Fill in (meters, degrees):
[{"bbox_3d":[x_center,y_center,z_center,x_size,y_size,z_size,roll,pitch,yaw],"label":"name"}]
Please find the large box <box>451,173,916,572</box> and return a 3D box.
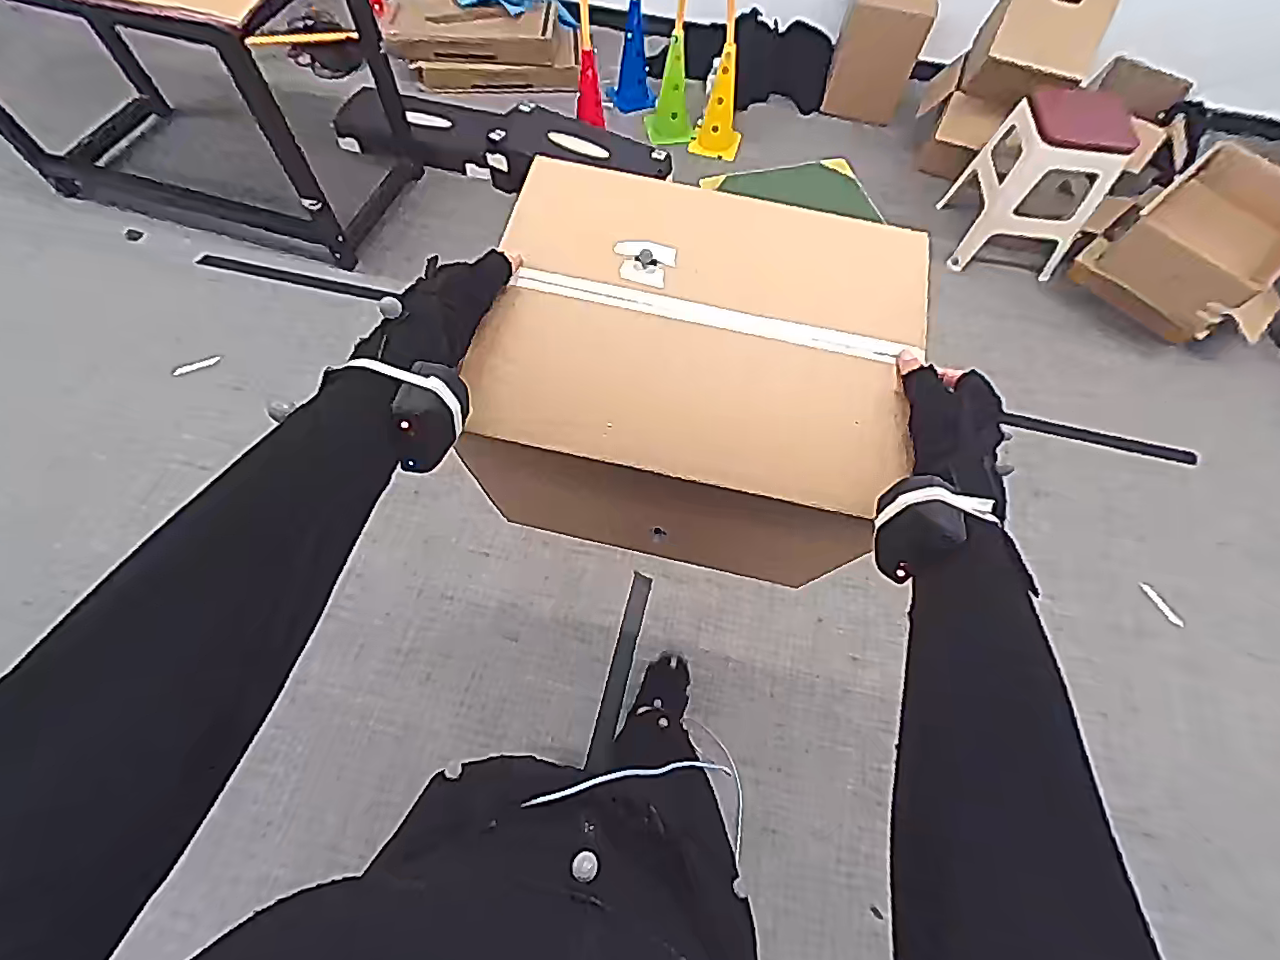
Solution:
[{"bbox_3d":[0.057,-0.098,0.653,0.408,0.320,0.320,12,69,3],"label":"large box"}]
